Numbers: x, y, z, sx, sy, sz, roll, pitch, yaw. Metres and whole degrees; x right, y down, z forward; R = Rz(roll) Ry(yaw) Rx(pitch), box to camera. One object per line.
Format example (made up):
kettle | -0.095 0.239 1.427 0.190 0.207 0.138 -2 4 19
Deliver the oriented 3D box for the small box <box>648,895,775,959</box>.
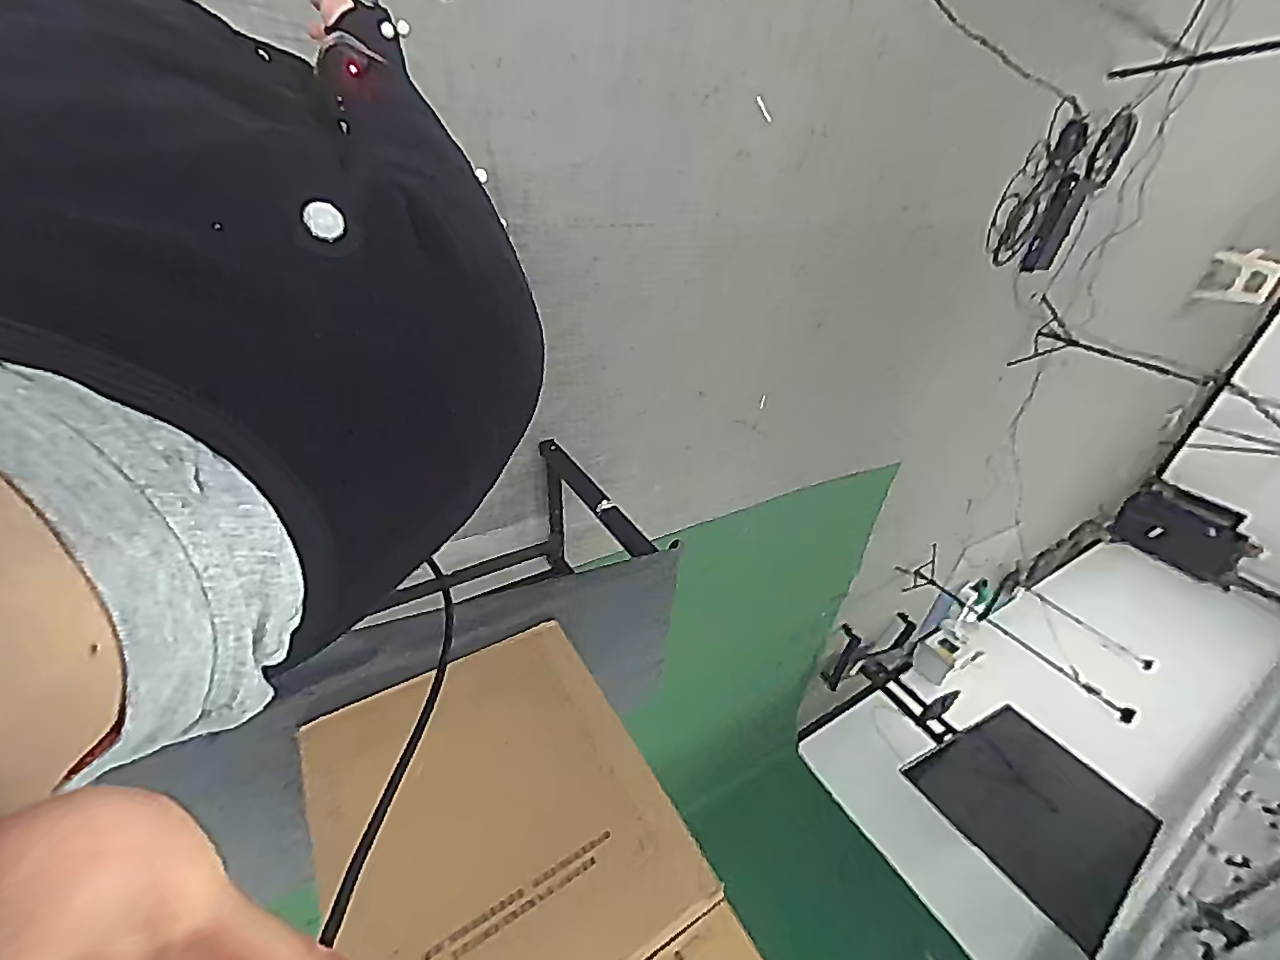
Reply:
small box | 0.111 0.776 0.811 0.168 0.176 0.179 -19 130 -29
